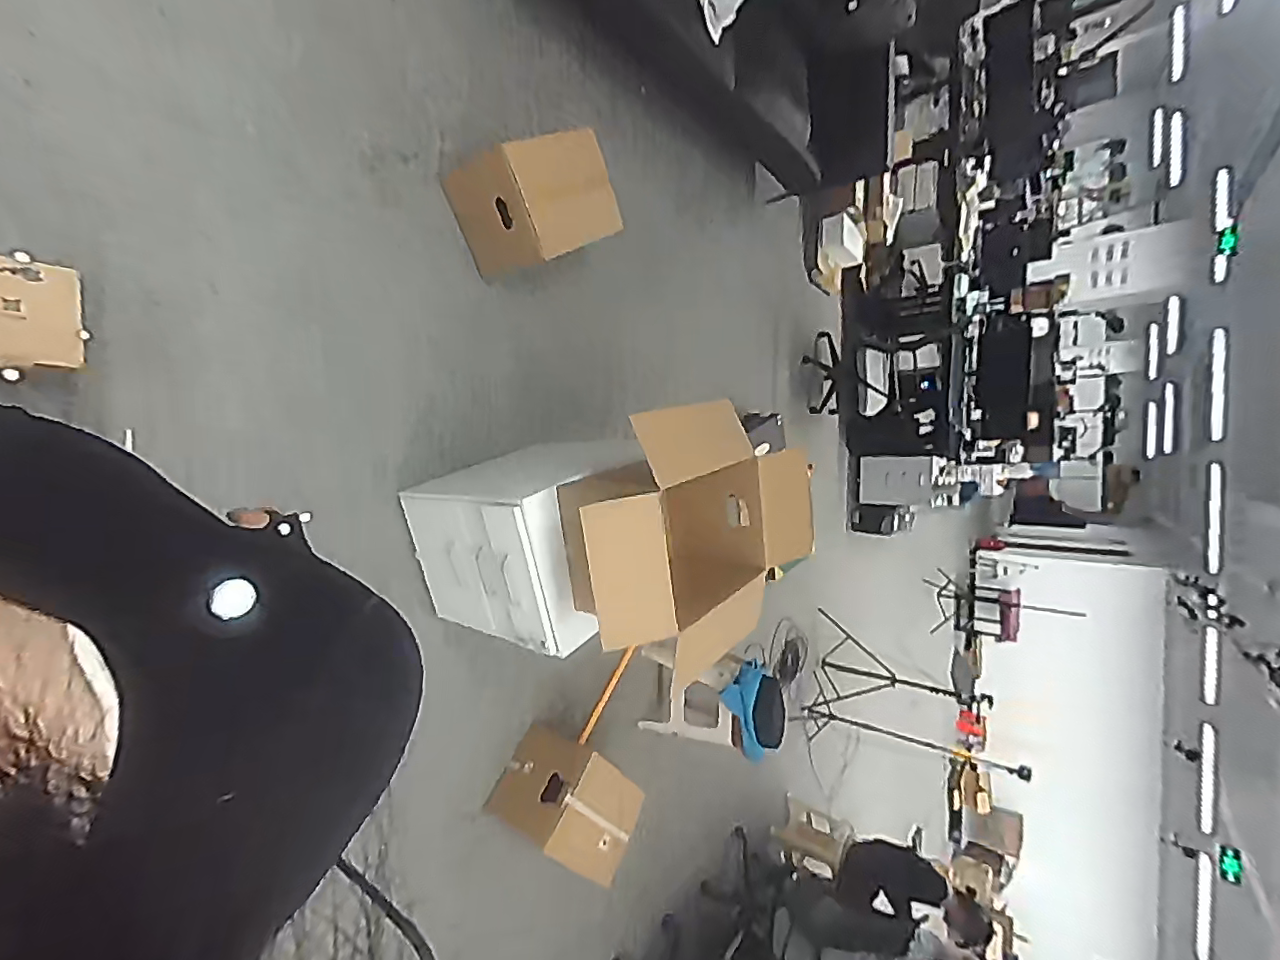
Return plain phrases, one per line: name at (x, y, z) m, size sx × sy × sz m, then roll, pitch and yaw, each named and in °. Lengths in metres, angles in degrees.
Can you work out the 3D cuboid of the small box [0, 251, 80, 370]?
small box at (-1.108, -0.293, 0.947) m, size 0.168 × 0.176 × 0.179 m, roll -3°, pitch 94°, yaw -51°
